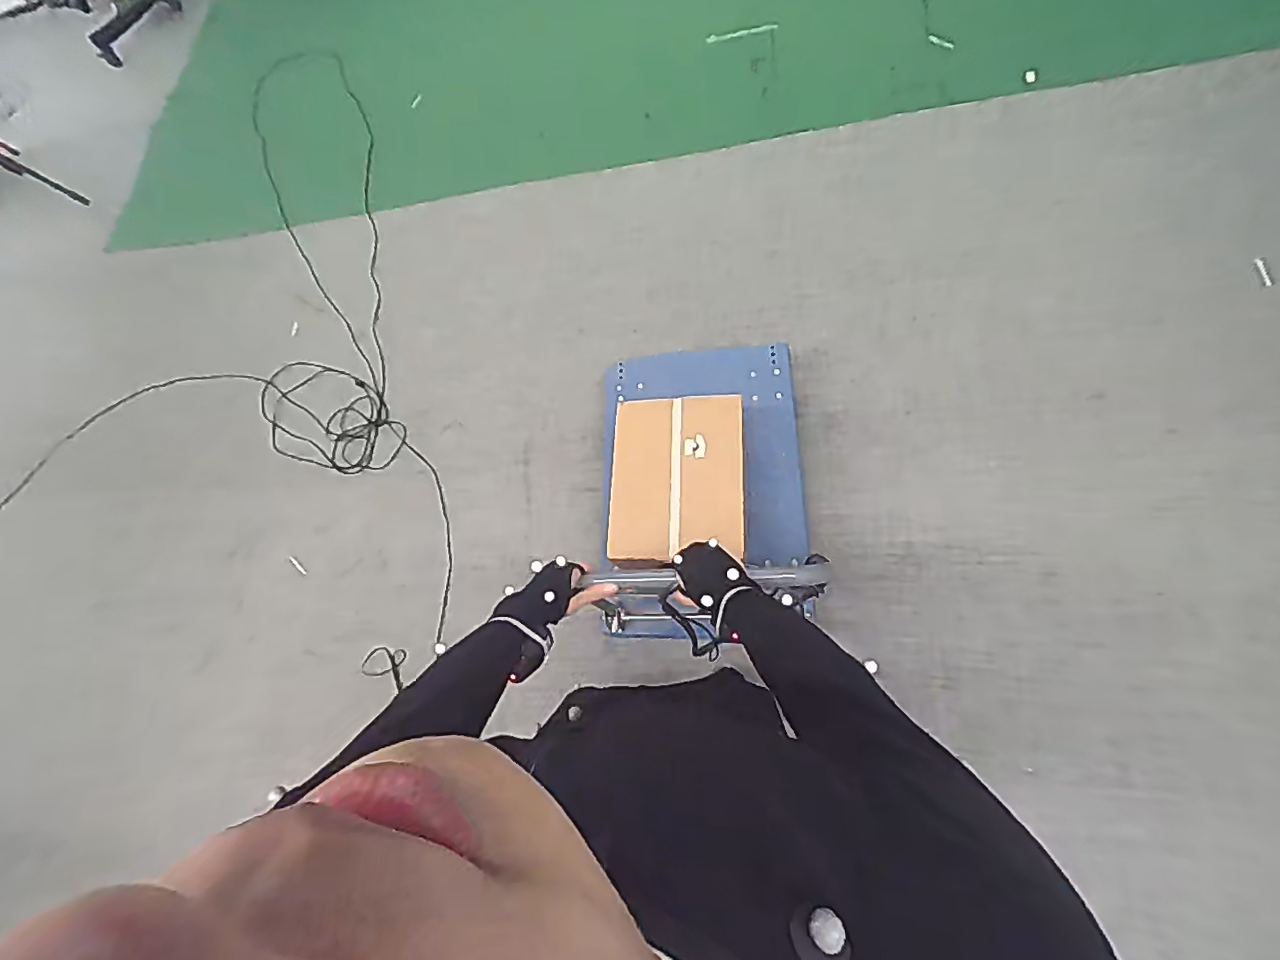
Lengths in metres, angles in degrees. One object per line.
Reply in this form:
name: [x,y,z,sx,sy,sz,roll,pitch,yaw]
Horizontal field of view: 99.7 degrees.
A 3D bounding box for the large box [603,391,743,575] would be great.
large box: [0.103,0.025,1.416,0.320,0.320,0.408,-1,71,12]
